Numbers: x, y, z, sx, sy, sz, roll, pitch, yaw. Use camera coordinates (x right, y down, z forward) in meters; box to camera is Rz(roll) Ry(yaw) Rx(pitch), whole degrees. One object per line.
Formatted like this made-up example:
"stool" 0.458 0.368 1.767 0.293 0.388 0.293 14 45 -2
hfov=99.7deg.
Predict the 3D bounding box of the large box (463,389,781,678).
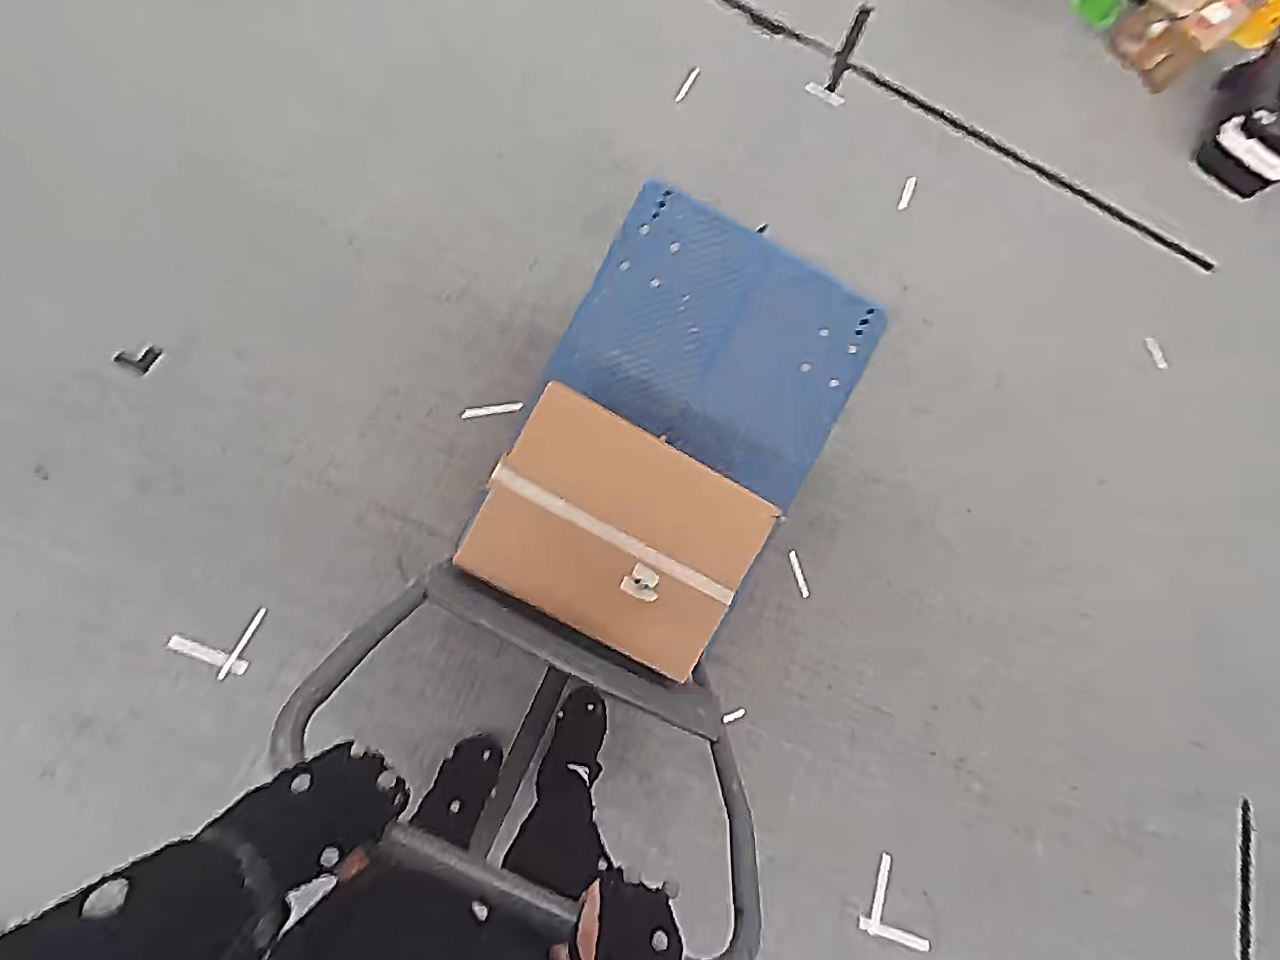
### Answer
"large box" -0.035 0.076 0.972 0.408 0.320 0.320 30 93 -5
